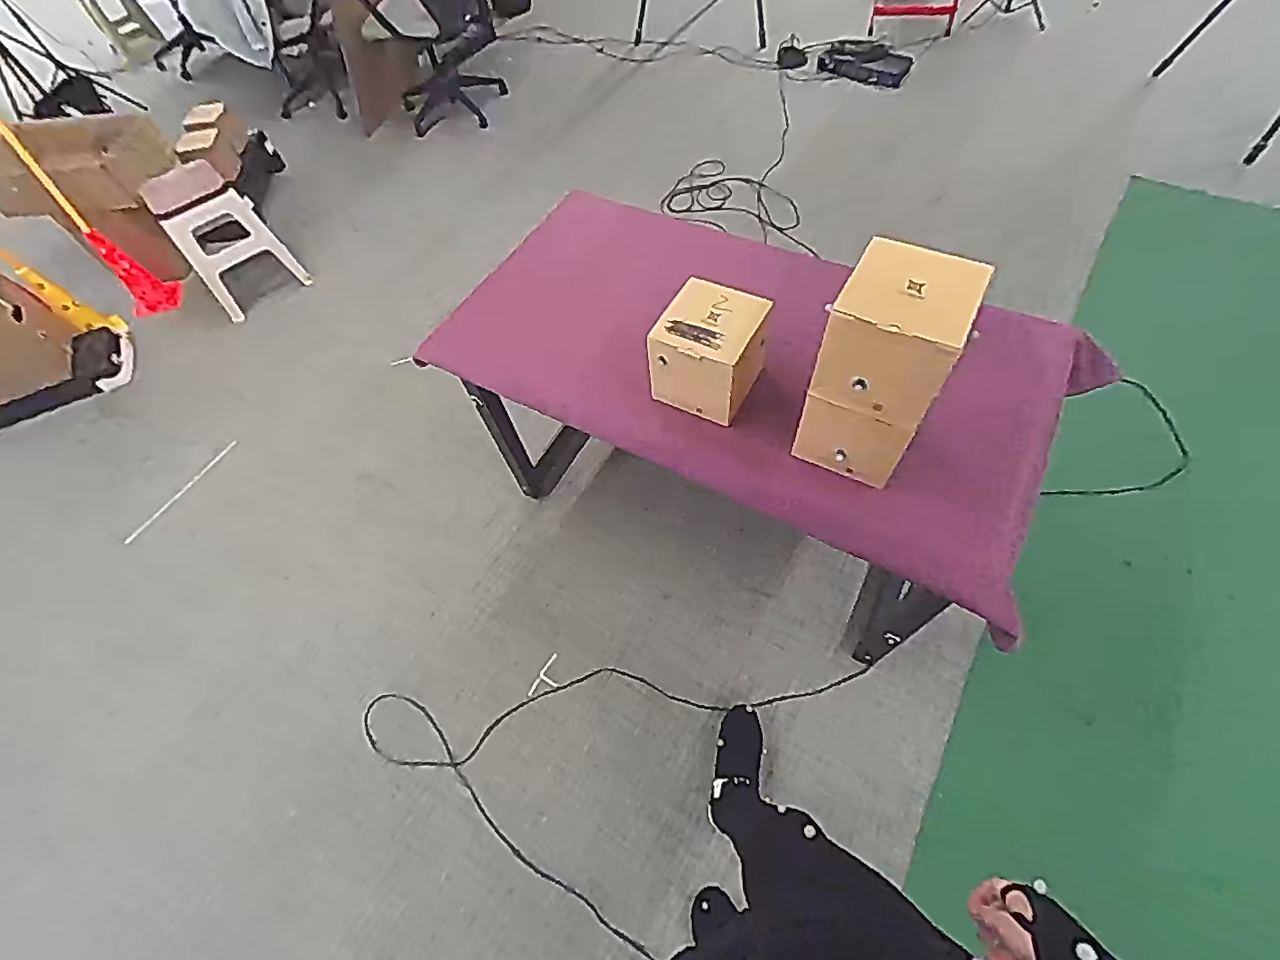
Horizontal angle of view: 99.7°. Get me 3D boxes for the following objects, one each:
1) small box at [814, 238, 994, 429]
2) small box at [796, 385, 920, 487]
[{"bbox_3d":[0.369,-0.208,0.784,0.168,0.176,0.179,25,65,18],"label":"small box"},{"bbox_3d":[0.381,-0.122,0.922,0.168,0.176,0.179,25,64,19],"label":"small box"}]
